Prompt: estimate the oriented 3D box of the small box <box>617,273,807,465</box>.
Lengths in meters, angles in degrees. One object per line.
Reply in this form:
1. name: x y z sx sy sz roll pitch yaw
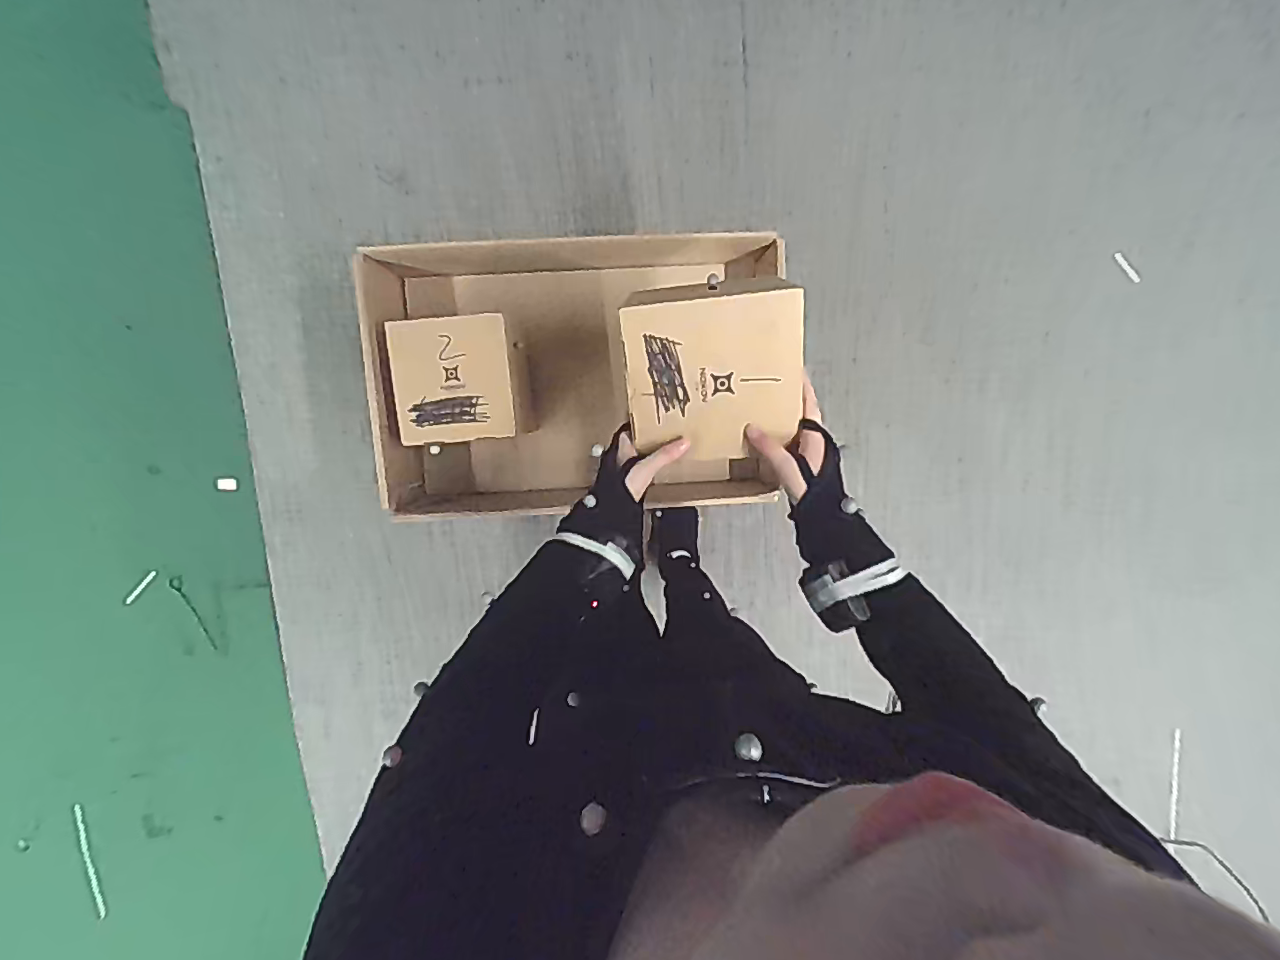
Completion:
1. small box: 0.078 -0.128 0.596 0.179 0.176 0.168 -5 115 6
